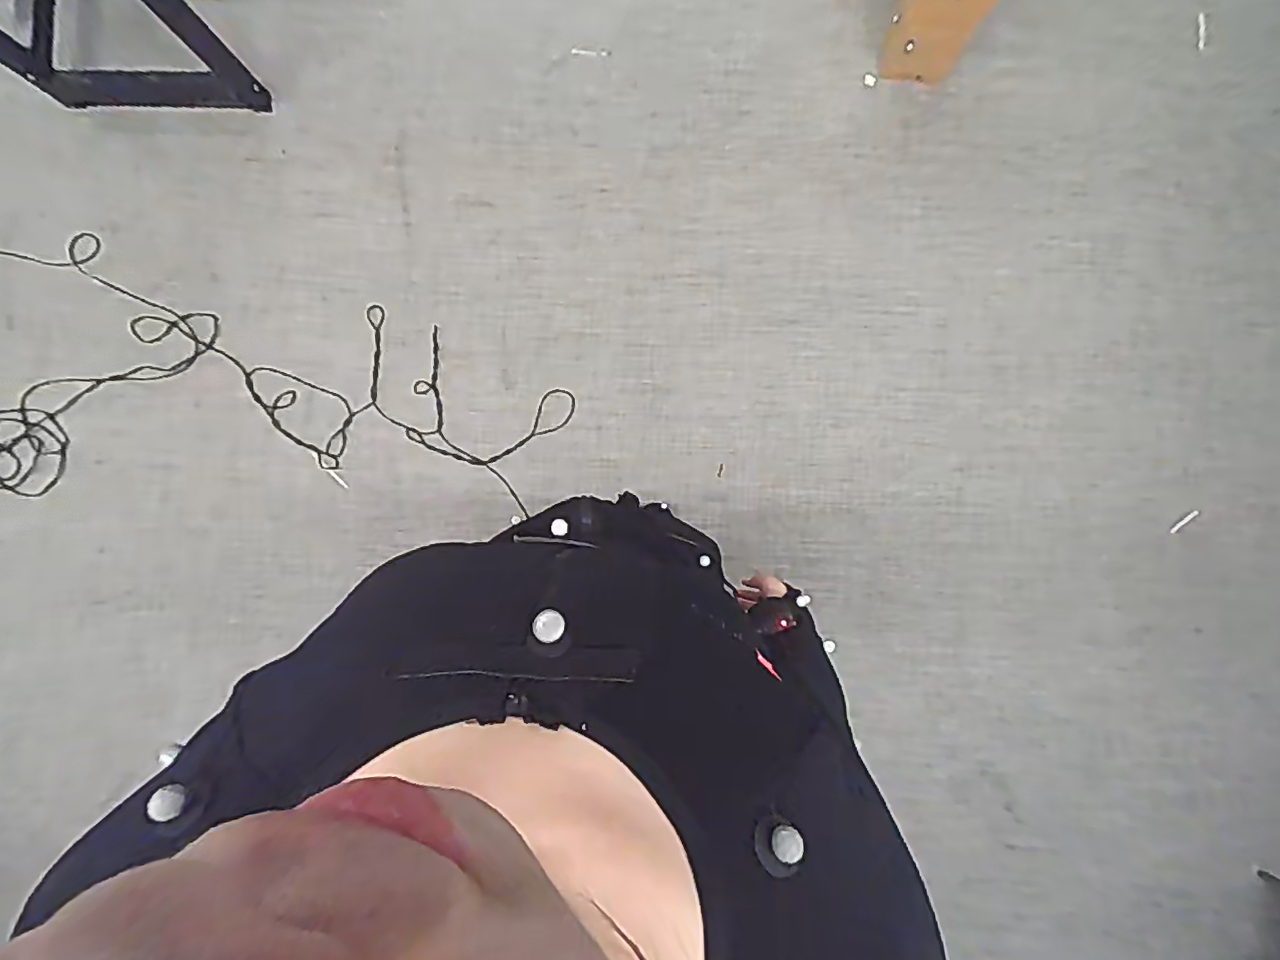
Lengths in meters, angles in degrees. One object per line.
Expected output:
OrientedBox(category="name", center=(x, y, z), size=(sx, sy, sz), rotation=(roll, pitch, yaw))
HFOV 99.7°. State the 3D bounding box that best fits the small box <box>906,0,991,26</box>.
OrientedBox(category="small box", center=(0.774, -1.241, 1.294), size=(0.179, 0.176, 0.168), rotation=(10, 90, 0))
